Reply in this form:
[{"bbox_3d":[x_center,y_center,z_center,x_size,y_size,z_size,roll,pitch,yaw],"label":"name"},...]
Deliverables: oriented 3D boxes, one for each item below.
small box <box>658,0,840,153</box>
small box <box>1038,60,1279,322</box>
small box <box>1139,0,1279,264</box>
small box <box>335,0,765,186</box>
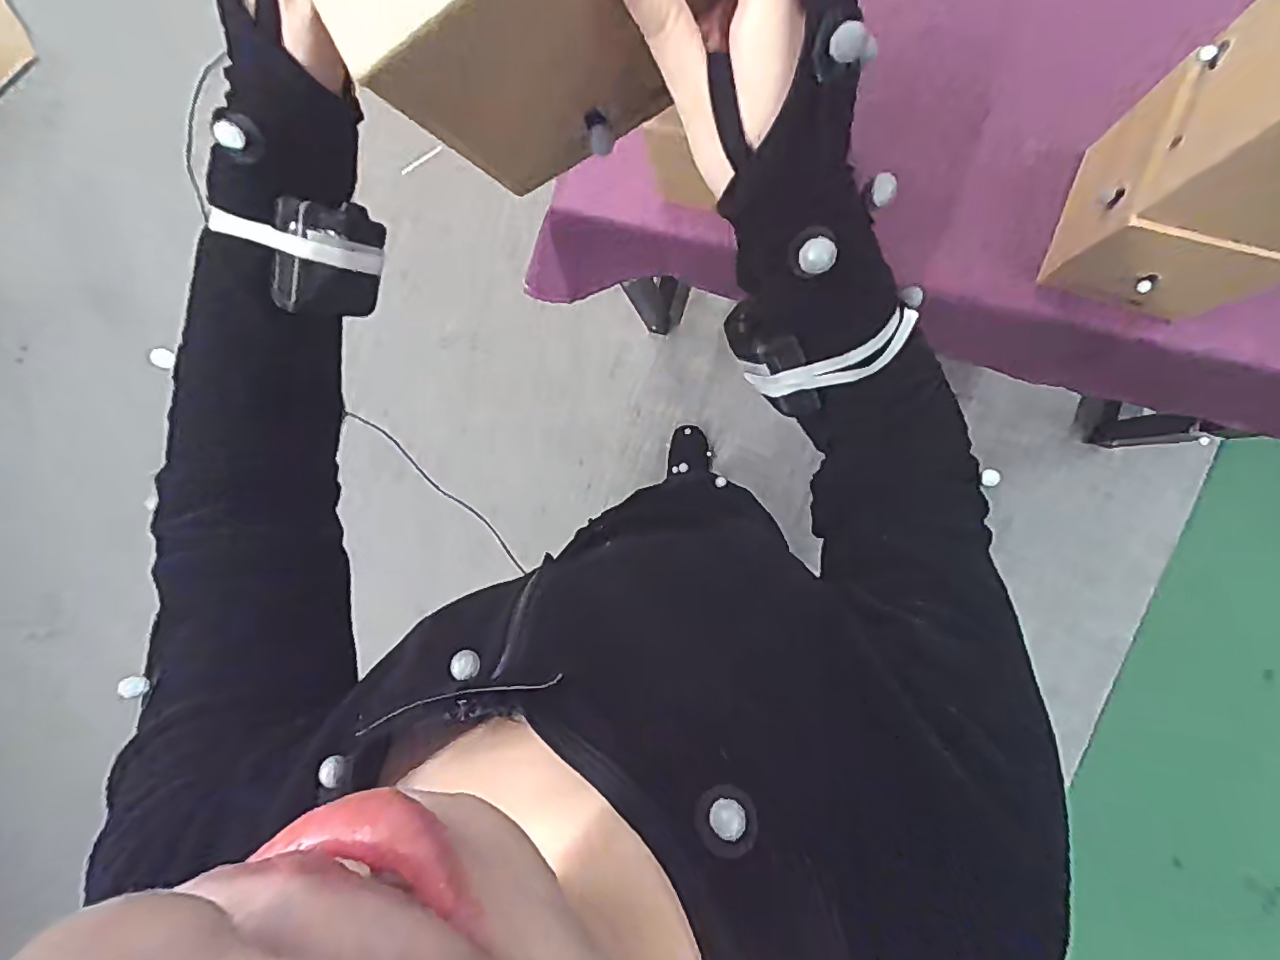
[{"bbox_3d":[0.096,-0.448,0.499,0.168,0.176,0.179,17,94,9],"label":"small box"},{"bbox_3d":[0.580,-0.292,0.586,0.168,0.176,0.179,20,94,8],"label":"small box"},{"bbox_3d":[0.562,-0.291,0.422,0.179,0.176,0.168,21,94,8],"label":"small box"},{"bbox_3d":[-0.048,-0.274,0.244,0.168,0.176,0.179,-23,99,14],"label":"small box"}]
